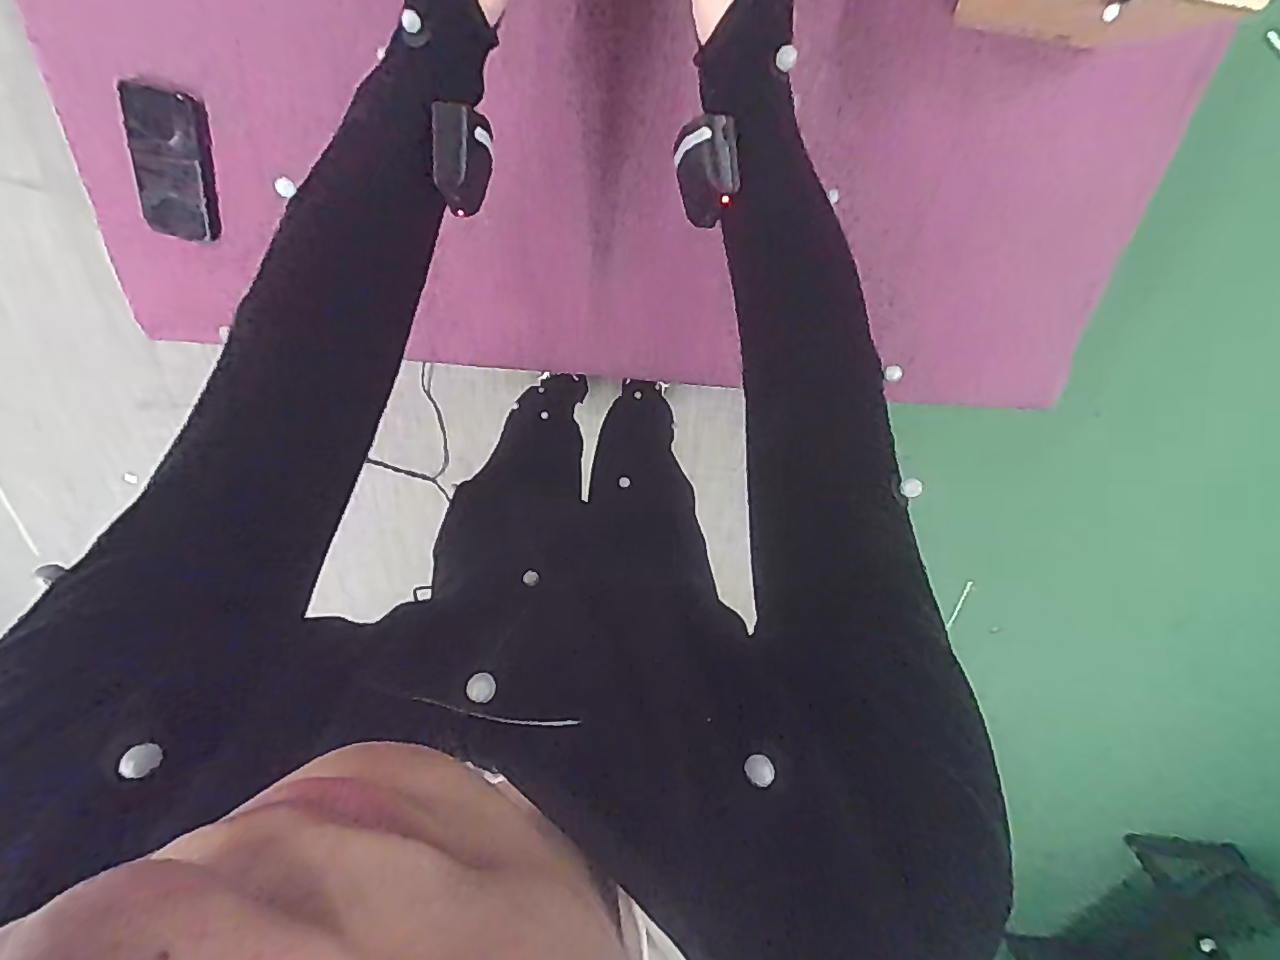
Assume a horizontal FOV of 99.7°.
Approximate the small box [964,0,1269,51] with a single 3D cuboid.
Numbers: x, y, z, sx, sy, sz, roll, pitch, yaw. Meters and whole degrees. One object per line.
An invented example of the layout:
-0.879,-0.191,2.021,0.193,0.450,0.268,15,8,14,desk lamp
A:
0.399,-0.476,0.427,0.168,0.176,0.179,7,120,-3,small box
